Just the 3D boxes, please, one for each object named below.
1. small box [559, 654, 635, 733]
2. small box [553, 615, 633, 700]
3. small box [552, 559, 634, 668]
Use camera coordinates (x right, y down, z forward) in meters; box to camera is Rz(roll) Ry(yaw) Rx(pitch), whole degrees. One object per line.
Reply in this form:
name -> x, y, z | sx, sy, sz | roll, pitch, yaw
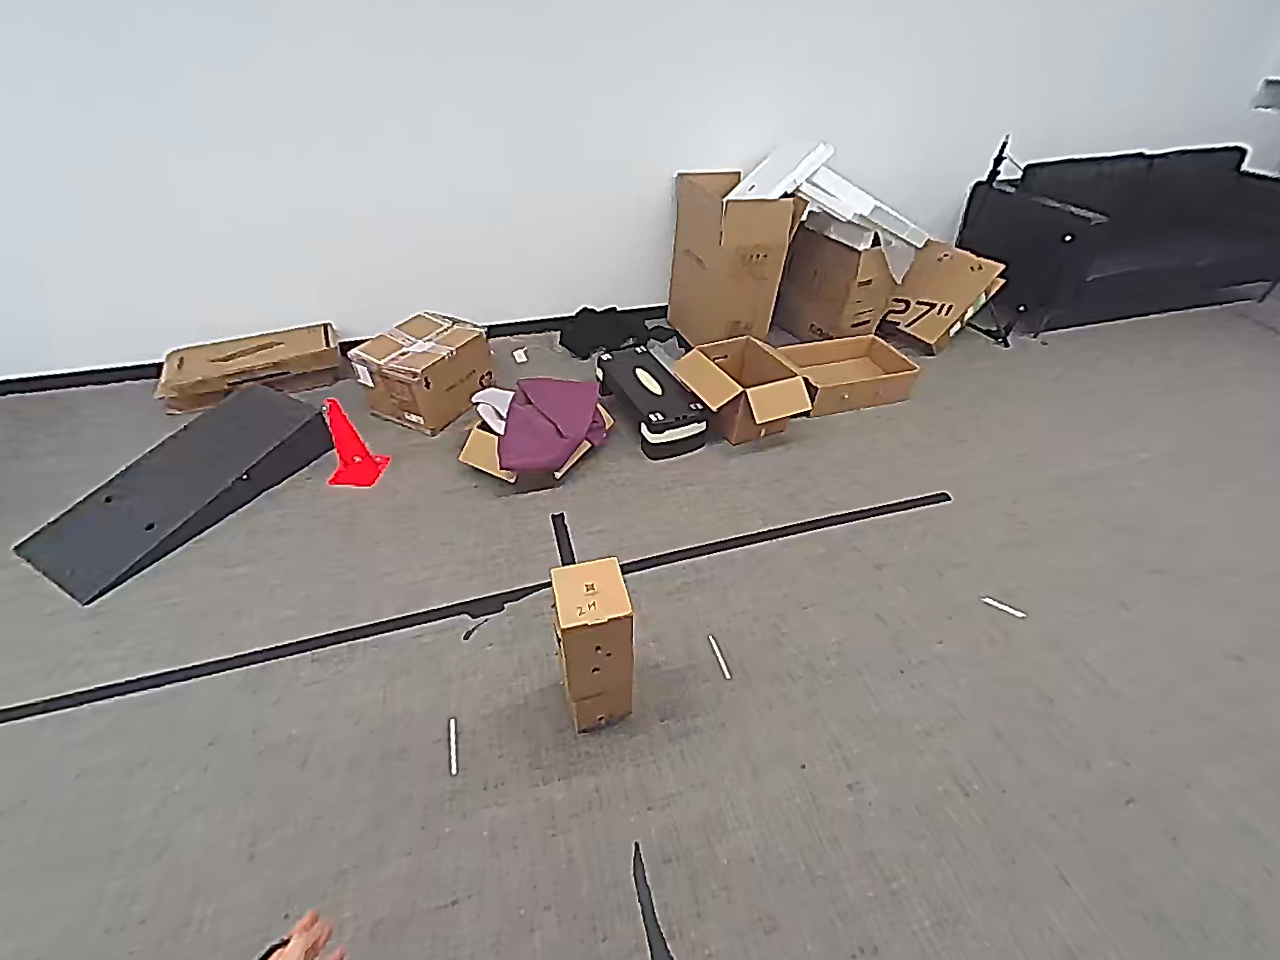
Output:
small box -> -0.123, 0.570, 1.517 | 0.168, 0.176, 0.179 | -15, 45, -17
small box -> -0.120, 0.446, 1.409 | 0.179, 0.176, 0.168 | -11, 43, -14
small box -> -0.115, 0.320, 1.302 | 0.168, 0.176, 0.179 | -10, 43, -11
